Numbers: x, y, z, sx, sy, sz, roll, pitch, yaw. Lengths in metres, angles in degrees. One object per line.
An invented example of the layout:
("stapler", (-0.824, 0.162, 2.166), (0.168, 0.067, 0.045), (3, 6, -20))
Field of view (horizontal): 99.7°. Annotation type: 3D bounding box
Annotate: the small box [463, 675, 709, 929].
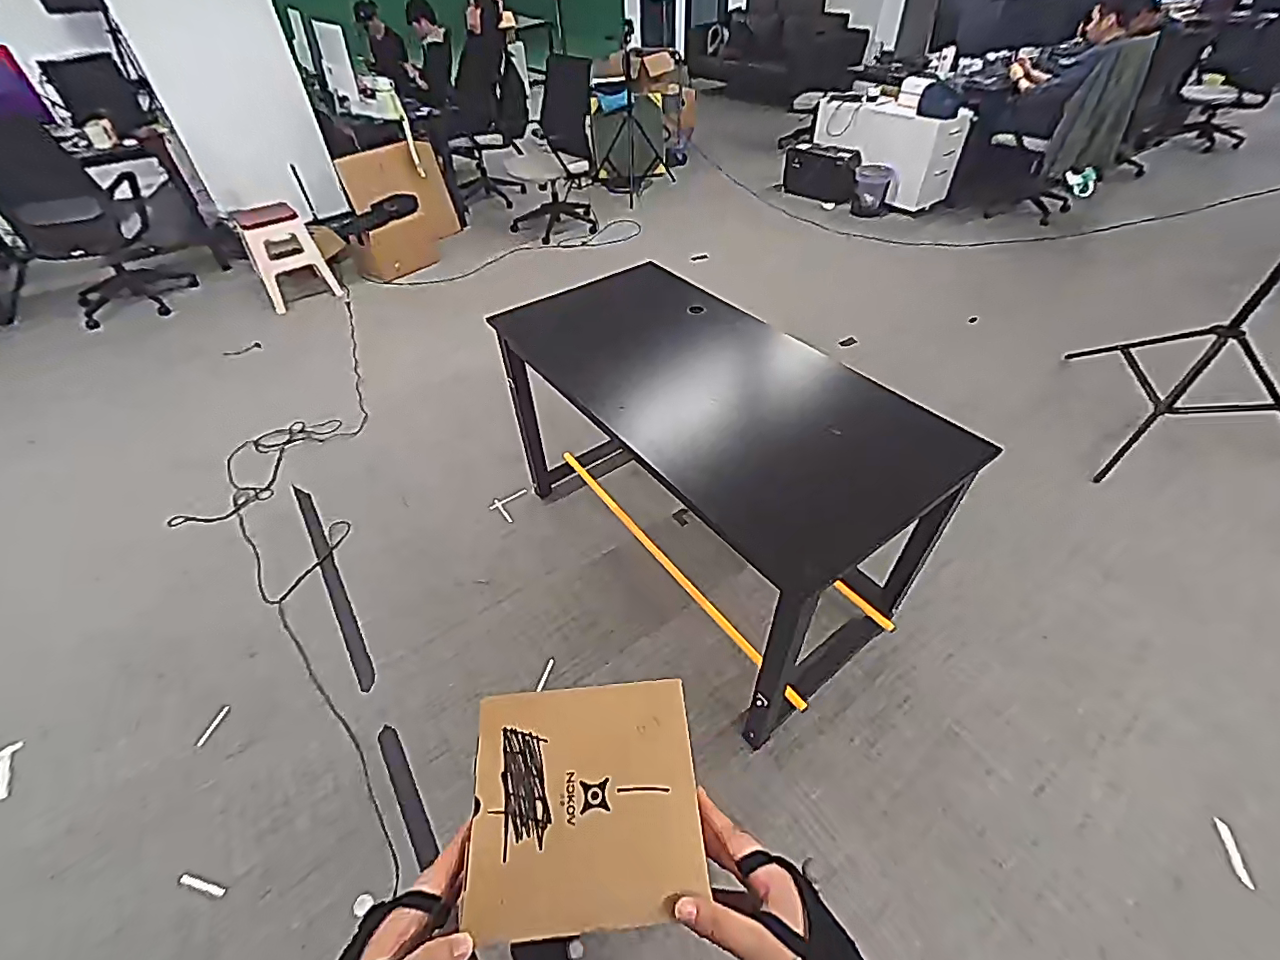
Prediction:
("small box", (-0.042, 0.292, 0.487), (0.179, 0.176, 0.168), (-4, 51, -3))
